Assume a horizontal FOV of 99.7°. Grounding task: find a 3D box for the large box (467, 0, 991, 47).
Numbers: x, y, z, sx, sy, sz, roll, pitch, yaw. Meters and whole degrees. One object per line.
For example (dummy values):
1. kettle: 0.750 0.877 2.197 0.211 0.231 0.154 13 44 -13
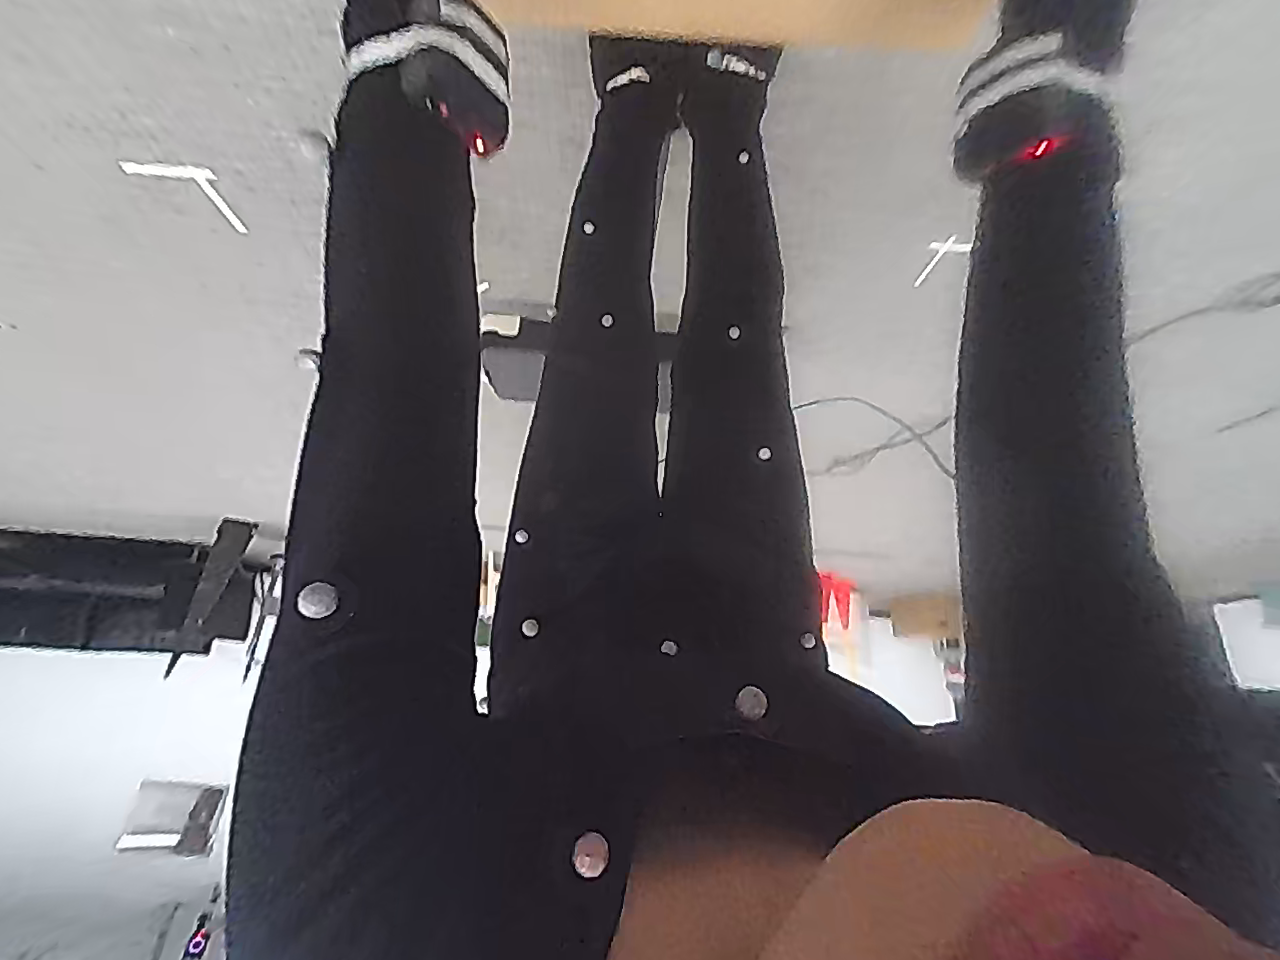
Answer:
1. large box: 0.069 -0.551 0.357 0.408 0.320 0.320 4 156 1
